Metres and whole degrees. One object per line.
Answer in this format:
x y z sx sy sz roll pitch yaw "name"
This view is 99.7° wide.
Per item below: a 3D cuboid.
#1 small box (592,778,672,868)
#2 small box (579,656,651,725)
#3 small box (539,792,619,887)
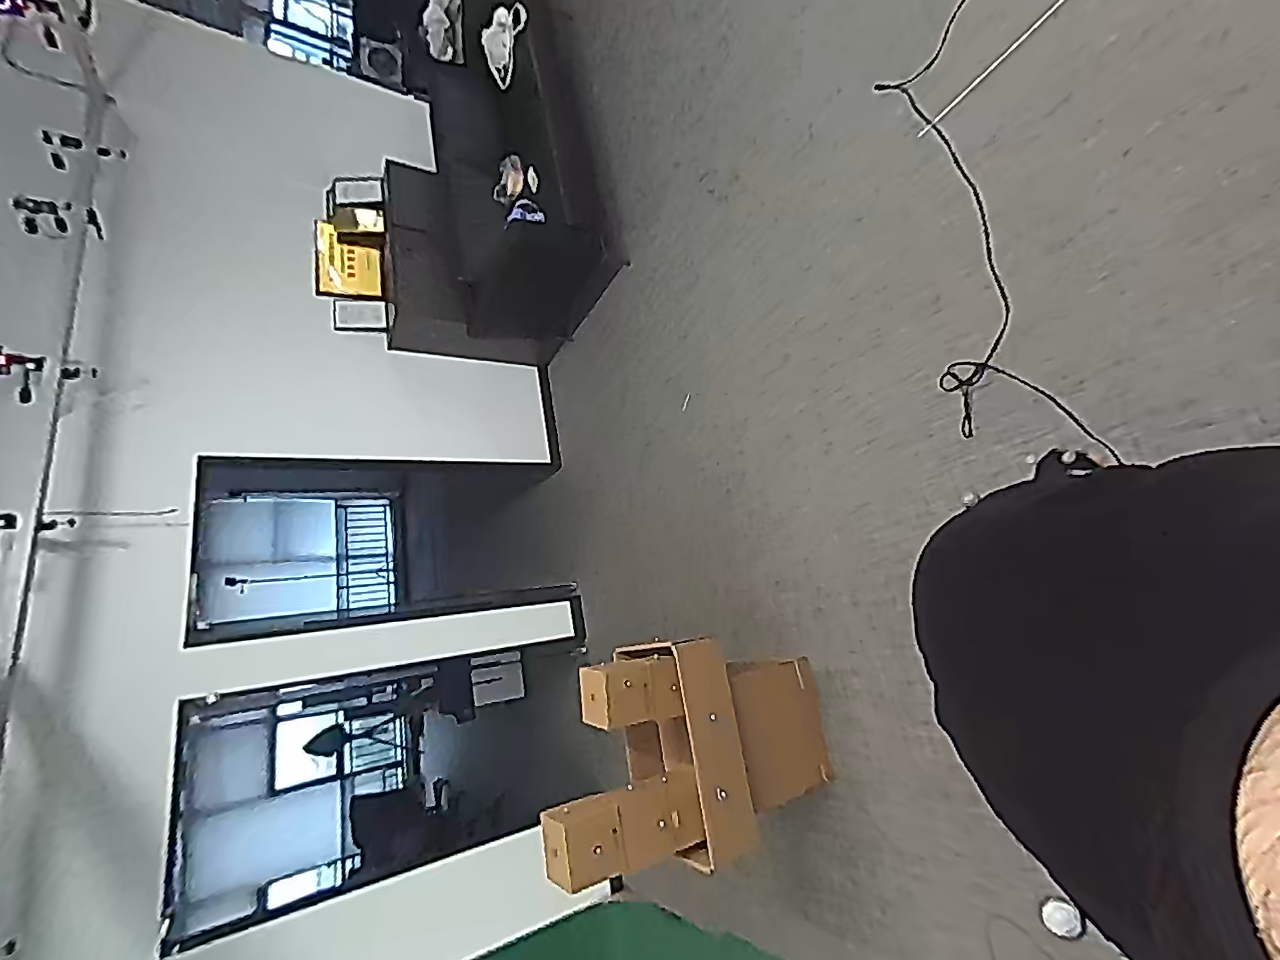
-0.024 1.003 1.600 0.168 0.176 0.179 -34 60 53 "small box"
-0.074 0.652 1.694 0.179 0.176 0.168 -23 68 57 "small box"
-0.167 0.996 1.517 0.179 0.176 0.168 -31 62 54 "small box"
